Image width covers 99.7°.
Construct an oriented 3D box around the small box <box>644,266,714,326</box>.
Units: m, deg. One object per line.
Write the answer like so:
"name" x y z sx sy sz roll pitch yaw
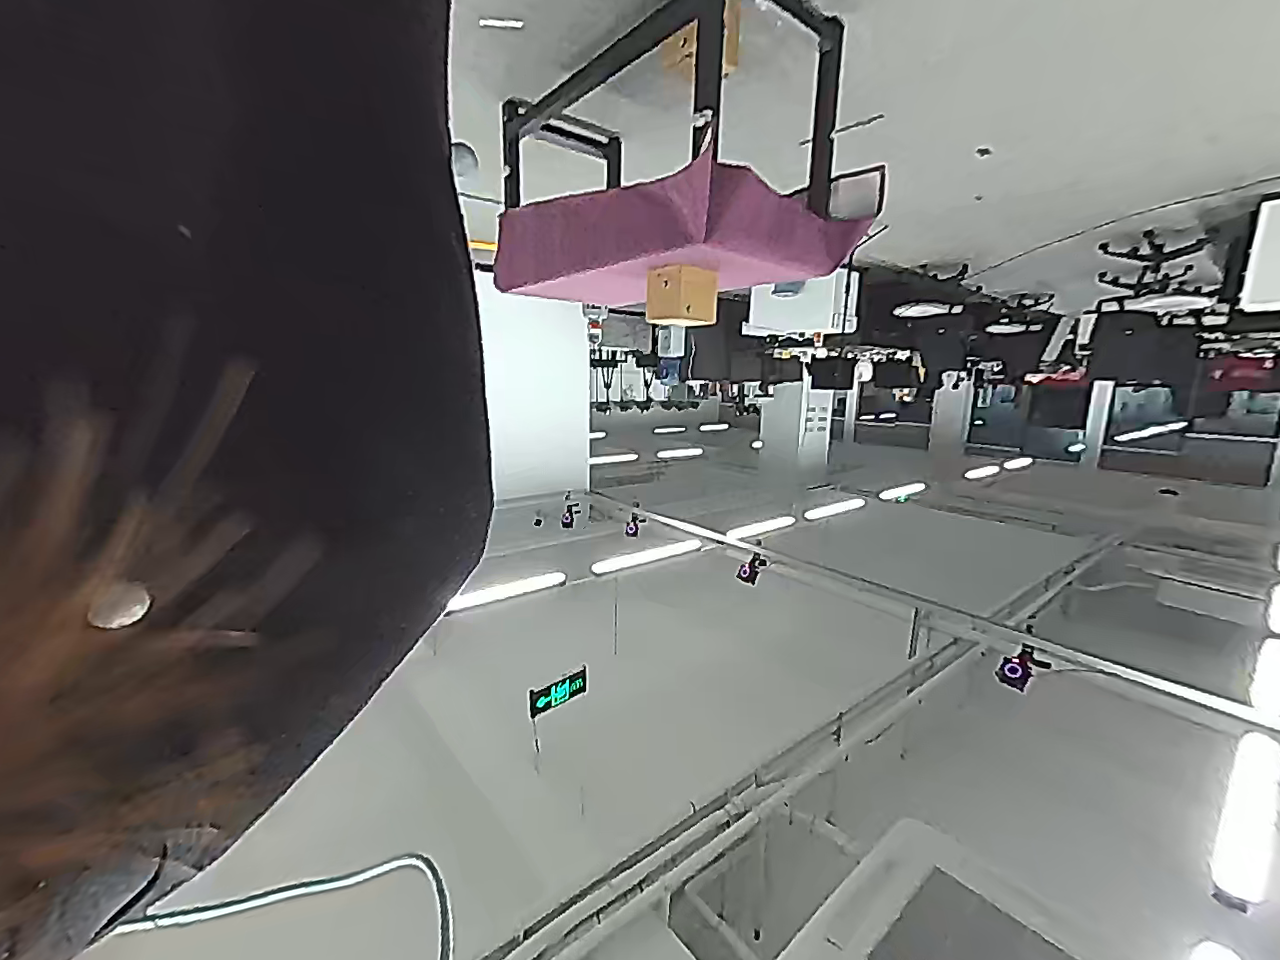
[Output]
"small box" 0.132 -0.611 1.803 0.179 0.176 0.168 -7 -166 -39
